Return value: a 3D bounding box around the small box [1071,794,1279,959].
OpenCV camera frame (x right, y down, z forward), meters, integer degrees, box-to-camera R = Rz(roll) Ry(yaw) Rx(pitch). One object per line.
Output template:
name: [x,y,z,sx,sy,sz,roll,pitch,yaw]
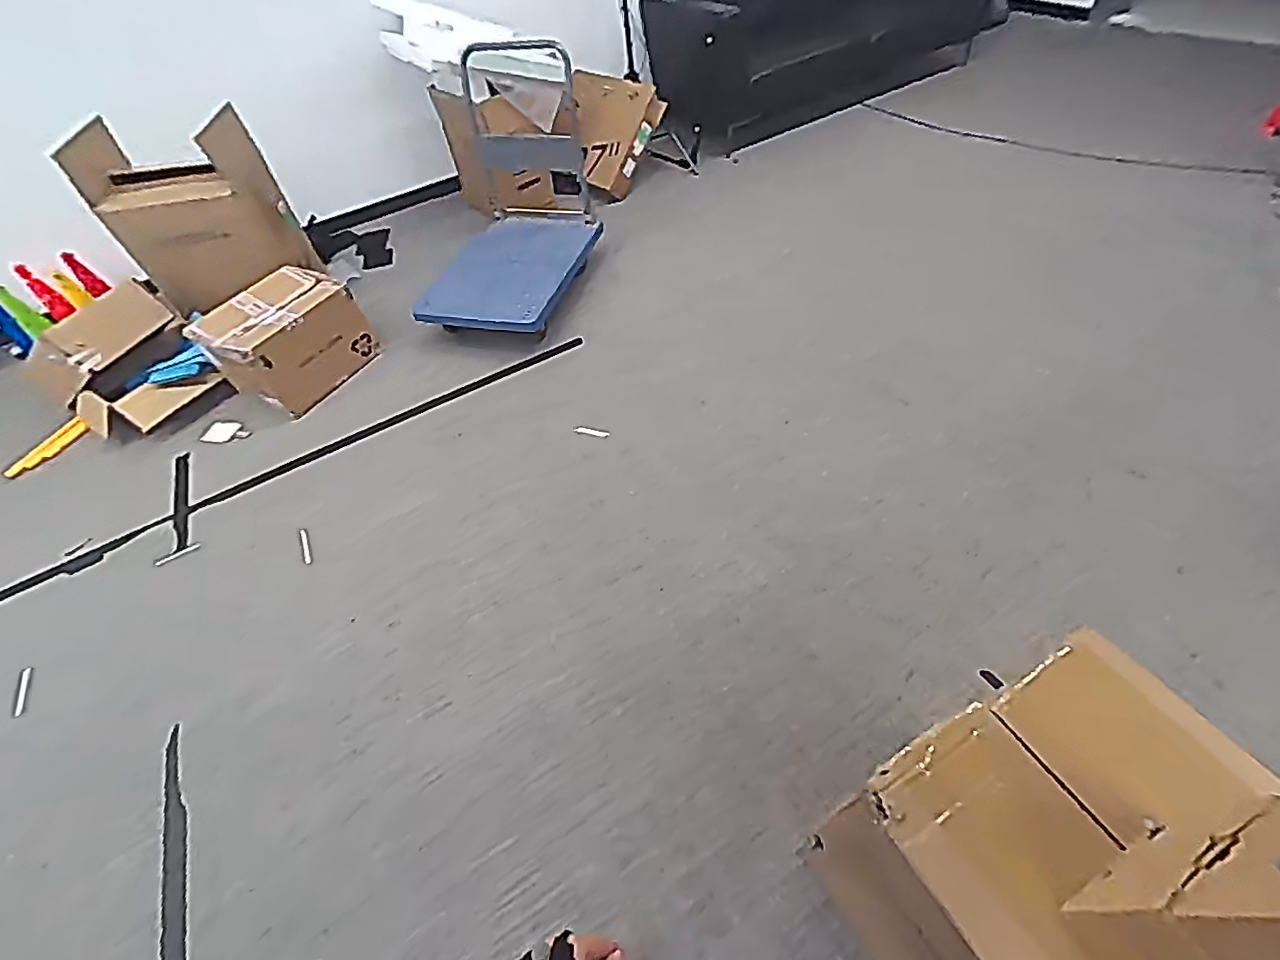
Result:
small box: [0.534,0.412,0.463,0.168,0.176,0.179,-27,53,-13]
